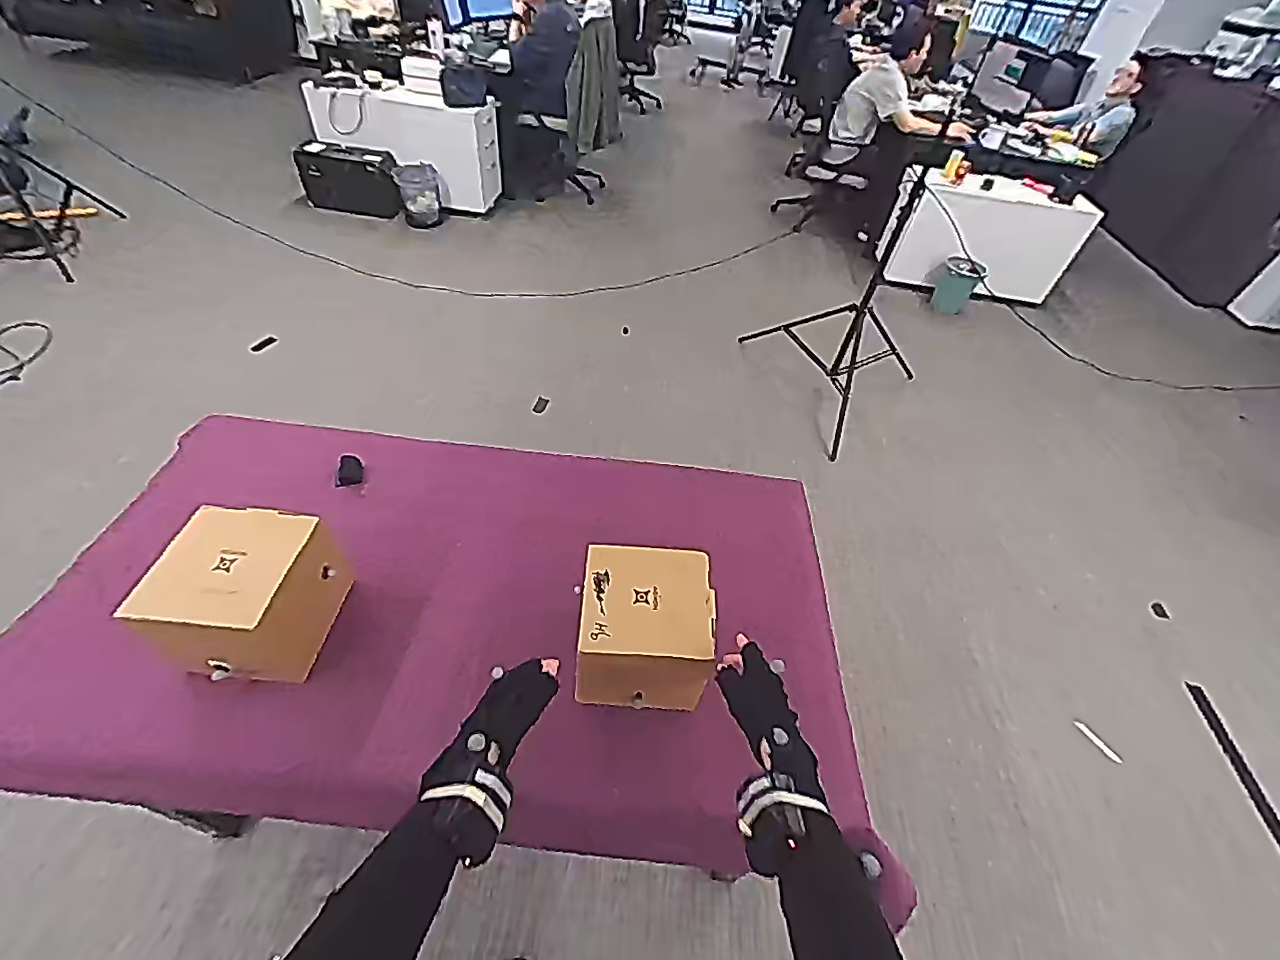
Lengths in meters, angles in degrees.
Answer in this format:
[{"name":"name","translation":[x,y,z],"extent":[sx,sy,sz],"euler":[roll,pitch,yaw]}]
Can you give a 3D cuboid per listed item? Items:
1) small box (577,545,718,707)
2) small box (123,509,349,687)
[{"name":"small box","translation":[0.005,0.215,0.783],"extent":[0.179,0.176,0.168],"euler":[5,46,-4]},{"name":"small box","translation":[-0.535,0.165,0.755],"extent":[0.168,0.176,0.179],"euler":[5,47,-2]}]
